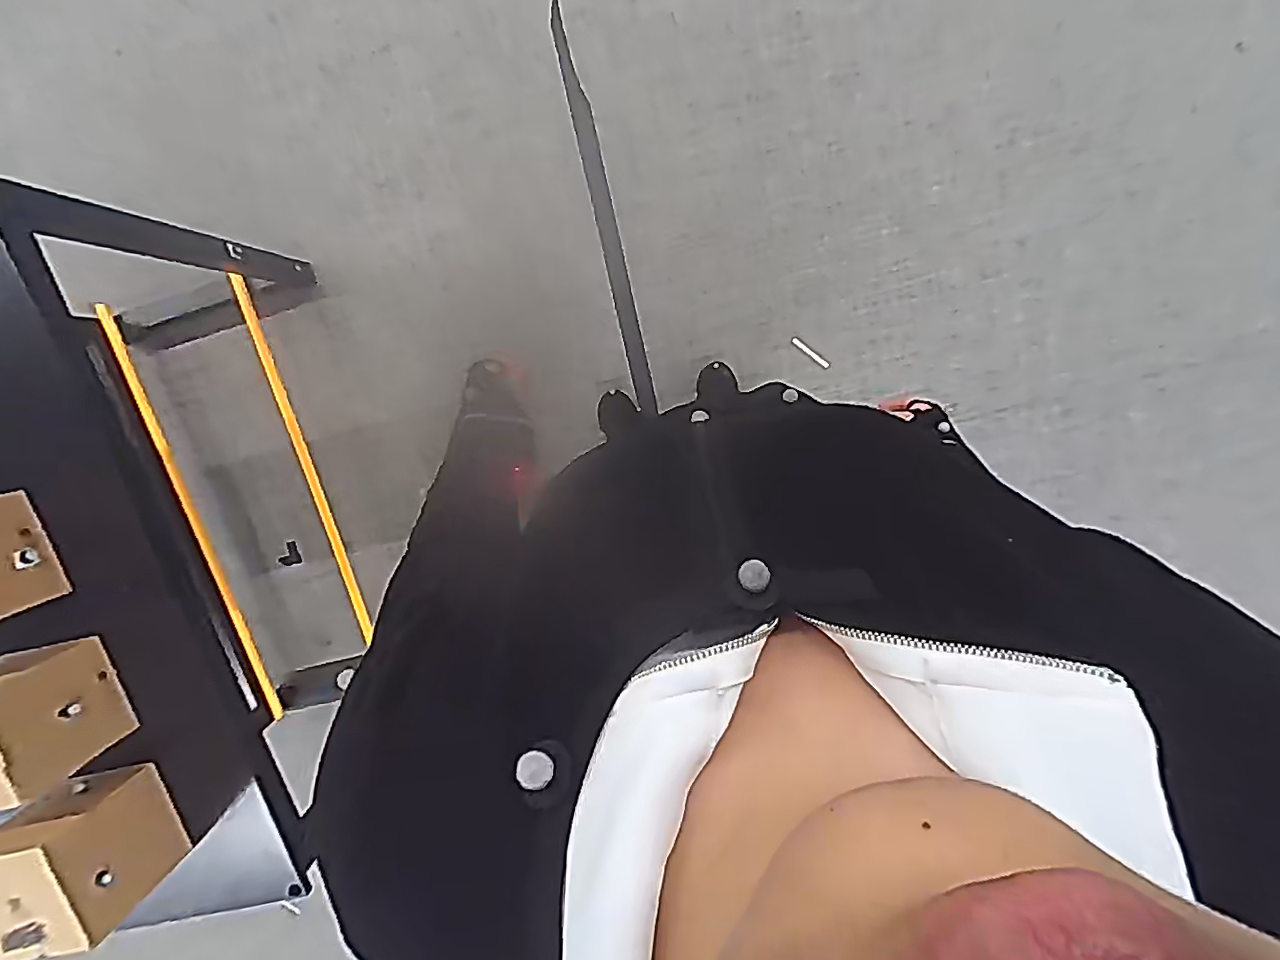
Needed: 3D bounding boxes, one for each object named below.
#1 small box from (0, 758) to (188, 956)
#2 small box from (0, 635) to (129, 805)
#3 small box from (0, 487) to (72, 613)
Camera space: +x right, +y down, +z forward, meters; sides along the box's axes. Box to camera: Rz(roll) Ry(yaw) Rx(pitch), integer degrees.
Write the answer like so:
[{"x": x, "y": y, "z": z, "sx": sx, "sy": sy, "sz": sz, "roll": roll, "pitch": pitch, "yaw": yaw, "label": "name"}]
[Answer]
[{"x": -0.860, "y": 0.571, "z": 0.834, "sx": 0.168, "sy": 0.176, "sz": 0.179, "roll": -13, "pitch": 101, "yaw": 5, "label": "small box"}, {"x": -0.911, "y": 0.348, "z": 0.789, "sx": 0.179, "sy": 0.176, "sz": 0.168, "roll": -13, "pitch": 102, "yaw": 4, "label": "small box"}, {"x": -0.970, "y": 0.122, "z": 0.743, "sx": 0.179, "sy": 0.176, "sz": 0.168, "roll": -15, "pitch": 103, "yaw": 5, "label": "small box"}]
